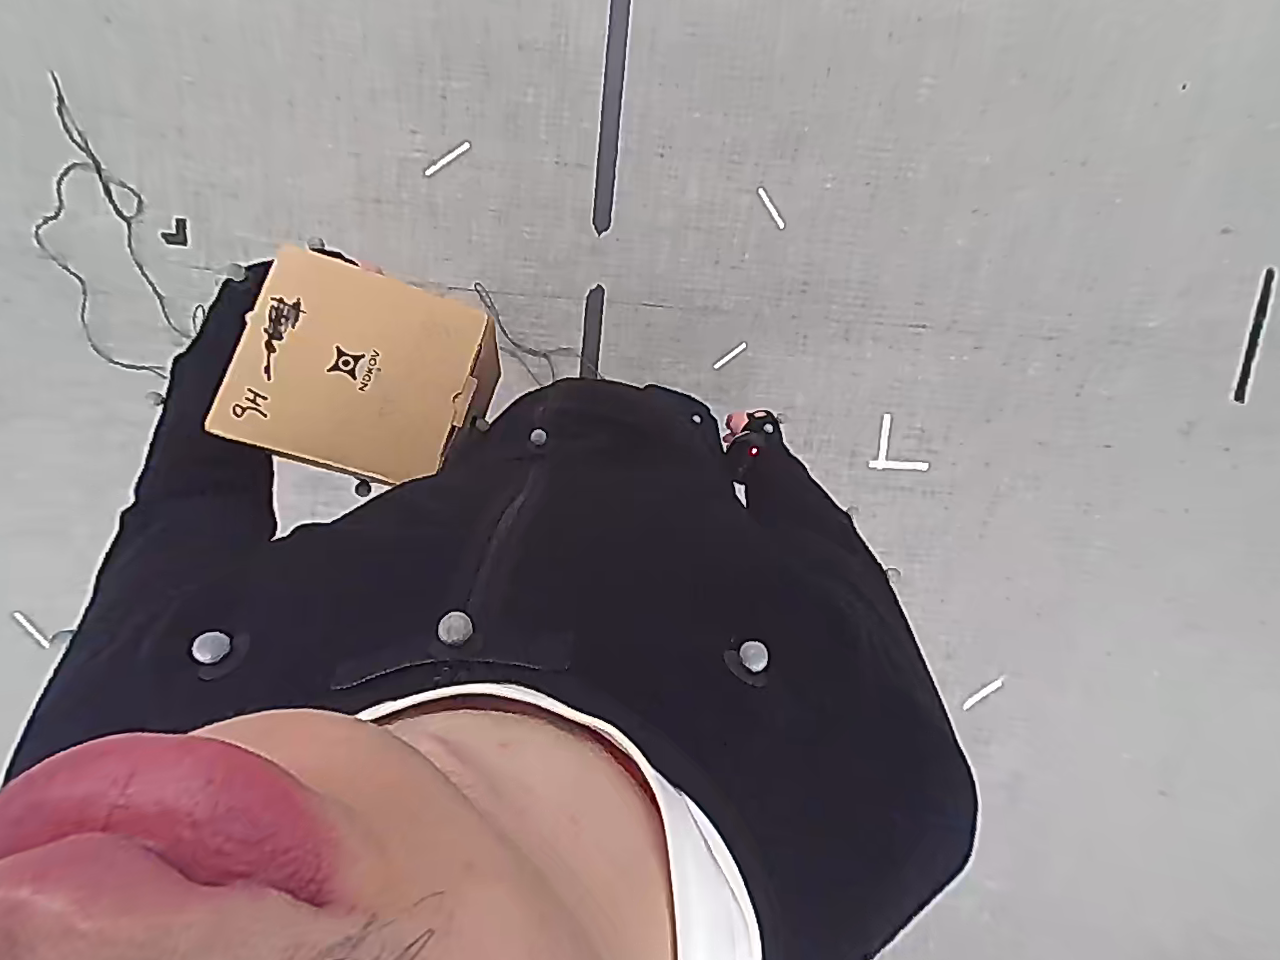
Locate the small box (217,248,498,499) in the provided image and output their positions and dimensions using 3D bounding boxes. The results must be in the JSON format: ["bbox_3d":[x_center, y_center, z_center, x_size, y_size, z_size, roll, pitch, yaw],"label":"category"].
[{"bbox_3d":[-0.246,-0.083,0.526,0.179,0.176,0.168,17,80,-11],"label":"small box"}]
